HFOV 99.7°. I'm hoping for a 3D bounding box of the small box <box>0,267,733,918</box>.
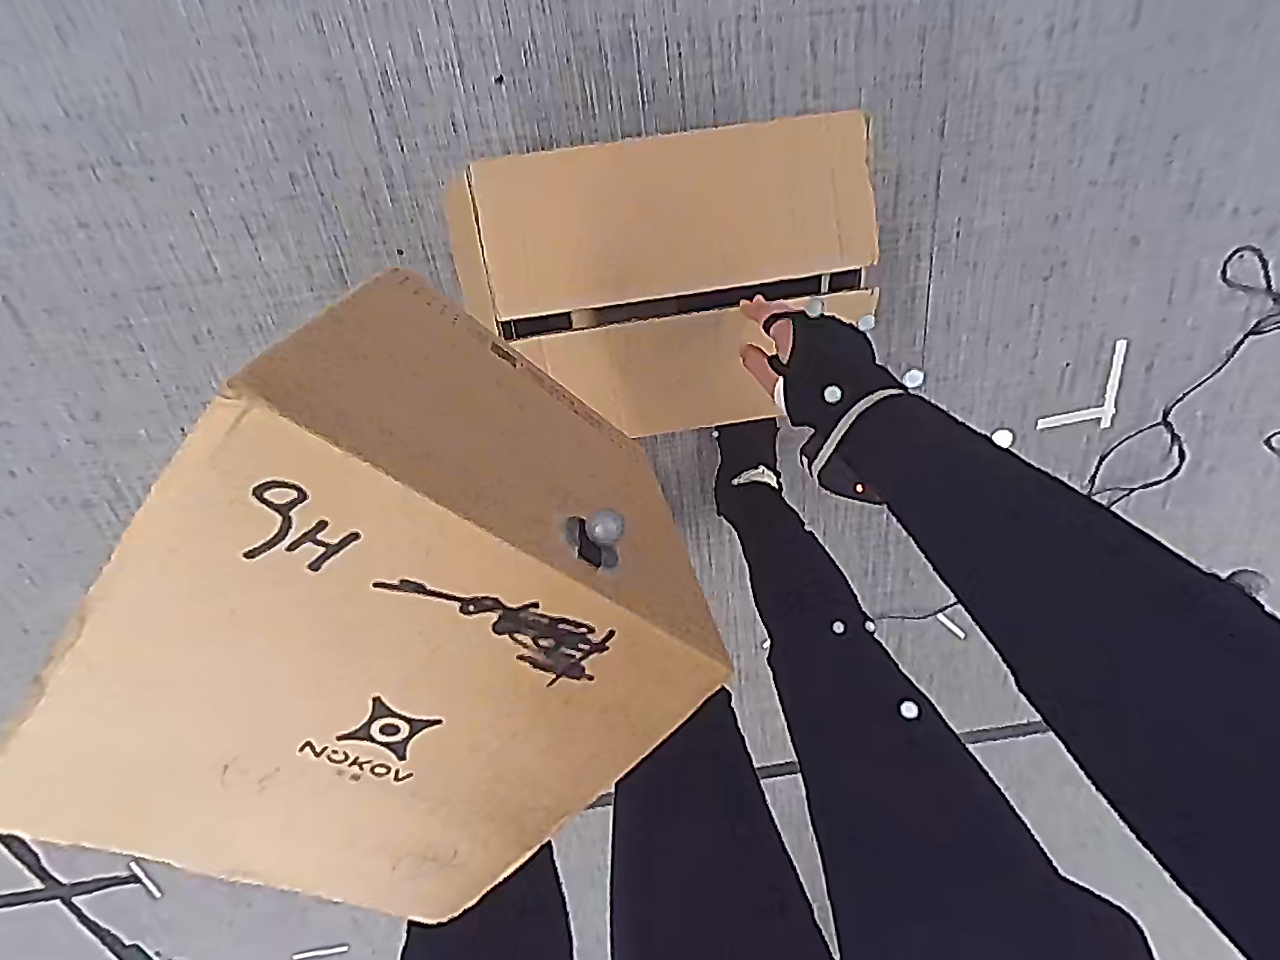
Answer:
[{"bbox_3d":[-0.094,0.039,0.234,0.168,0.176,0.179,37,108,-27],"label":"small box"}]
